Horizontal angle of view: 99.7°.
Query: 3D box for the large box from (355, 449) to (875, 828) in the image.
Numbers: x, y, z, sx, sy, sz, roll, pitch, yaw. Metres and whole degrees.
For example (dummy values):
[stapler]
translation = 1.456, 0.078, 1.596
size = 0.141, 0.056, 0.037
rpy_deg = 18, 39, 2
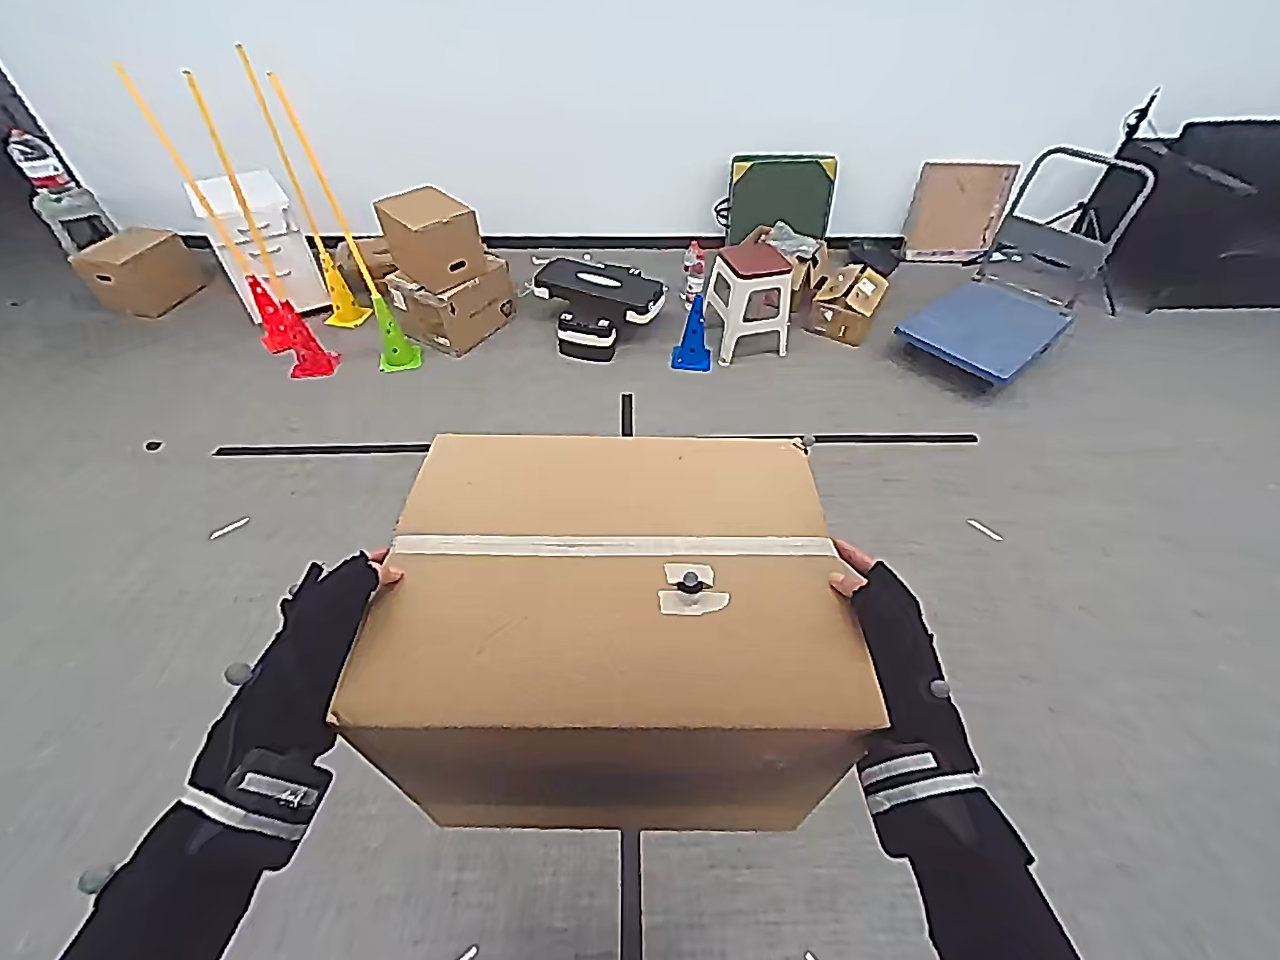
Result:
[large box]
translation = -0.022, 0.179, 0.615
size = 0.408, 0.320, 0.320
rpy_deg = 1, 46, -1
